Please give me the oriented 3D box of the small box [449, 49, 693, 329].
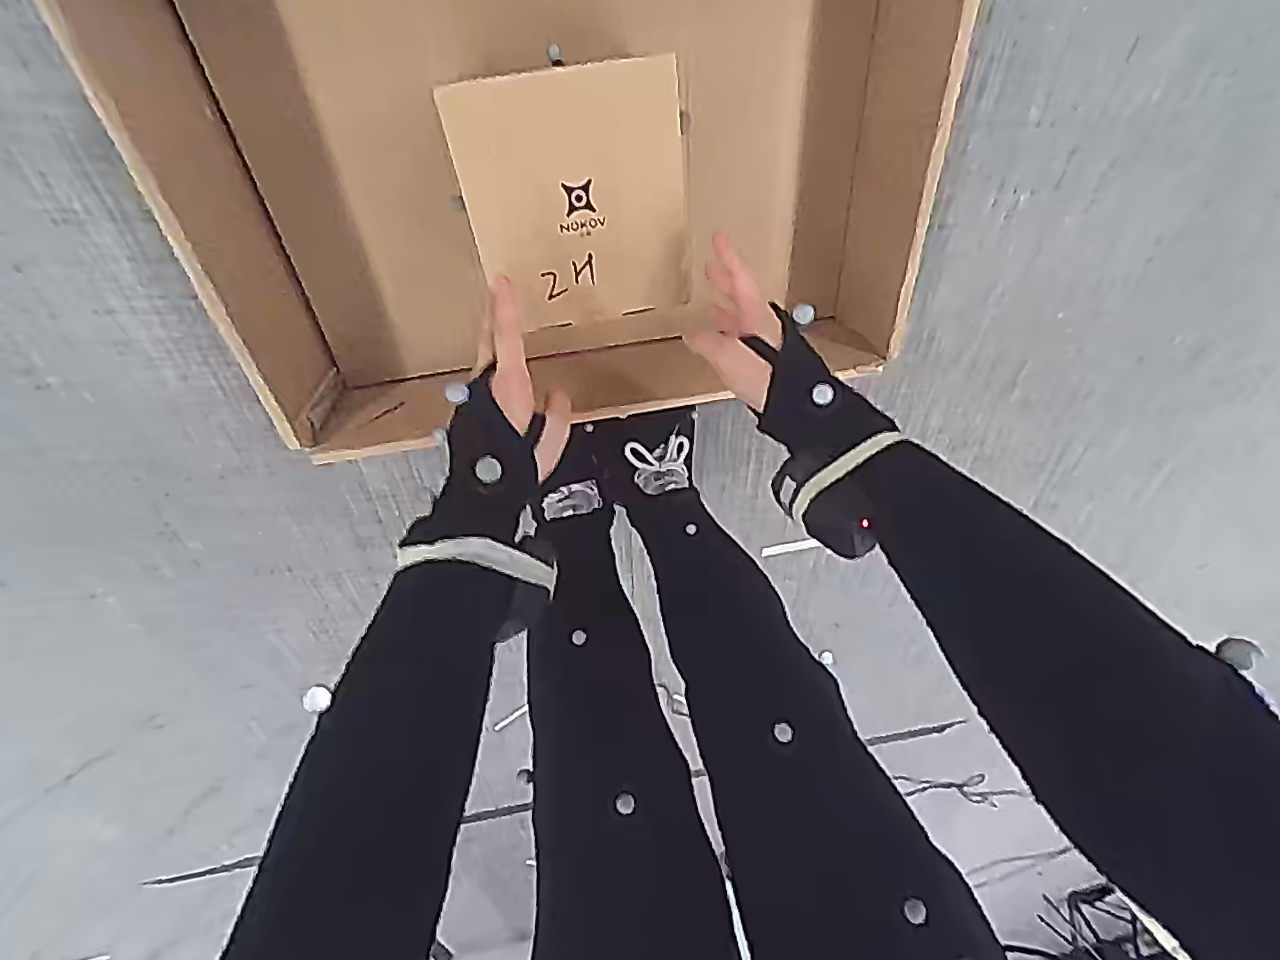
[{"bbox_3d":[-0.056,-0.257,0.476,0.168,0.176,0.179,-11,128,-4],"label":"small box"}]
